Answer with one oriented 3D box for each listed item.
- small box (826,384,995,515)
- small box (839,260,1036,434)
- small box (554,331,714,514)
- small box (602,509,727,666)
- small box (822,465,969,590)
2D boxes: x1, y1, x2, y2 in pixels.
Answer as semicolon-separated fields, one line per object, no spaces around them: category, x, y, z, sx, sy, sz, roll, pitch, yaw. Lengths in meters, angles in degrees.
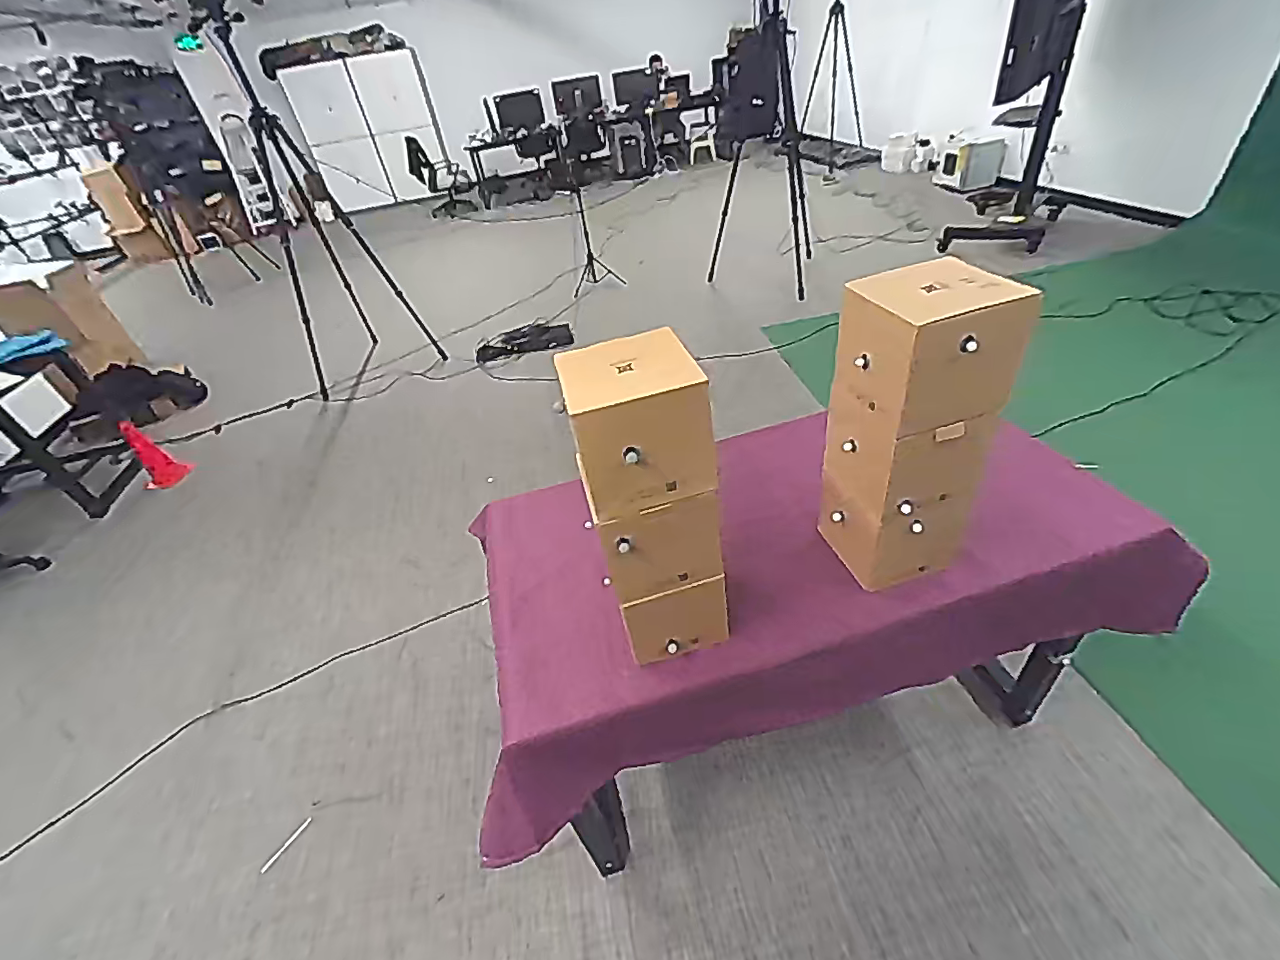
small box;0.419;-0.062;0.870;0.168;0.176;0.179;-16;38;-7
small box;0.398;-0.186;0.763;0.179;0.176;0.168;-16;40;-6
small box;-0.007;-0.073;0.724;0.168;0.176;0.179;-16;37;-5
small box;0.042;0.182;0.925;0.168;0.176;0.179;-16;40;-5
small box;0.442;0.064;0.972;0.168;0.176;0.179;-17;38;-5
